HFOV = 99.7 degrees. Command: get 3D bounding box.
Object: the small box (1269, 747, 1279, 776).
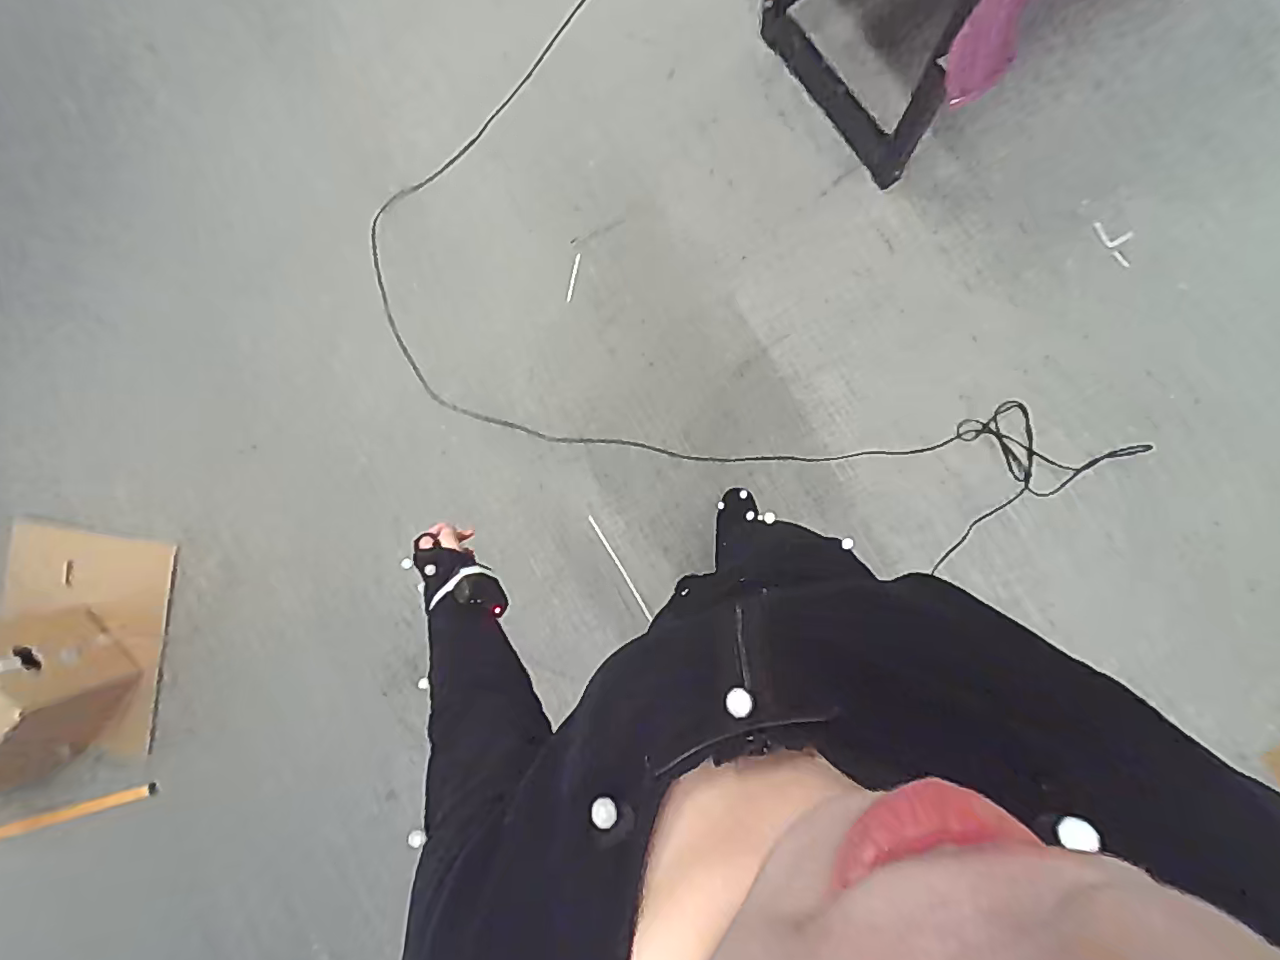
[{"bbox_3d":[1.604,0.677,1.203,0.179,0.176,0.168,-37,84,6],"label":"small box"}]
